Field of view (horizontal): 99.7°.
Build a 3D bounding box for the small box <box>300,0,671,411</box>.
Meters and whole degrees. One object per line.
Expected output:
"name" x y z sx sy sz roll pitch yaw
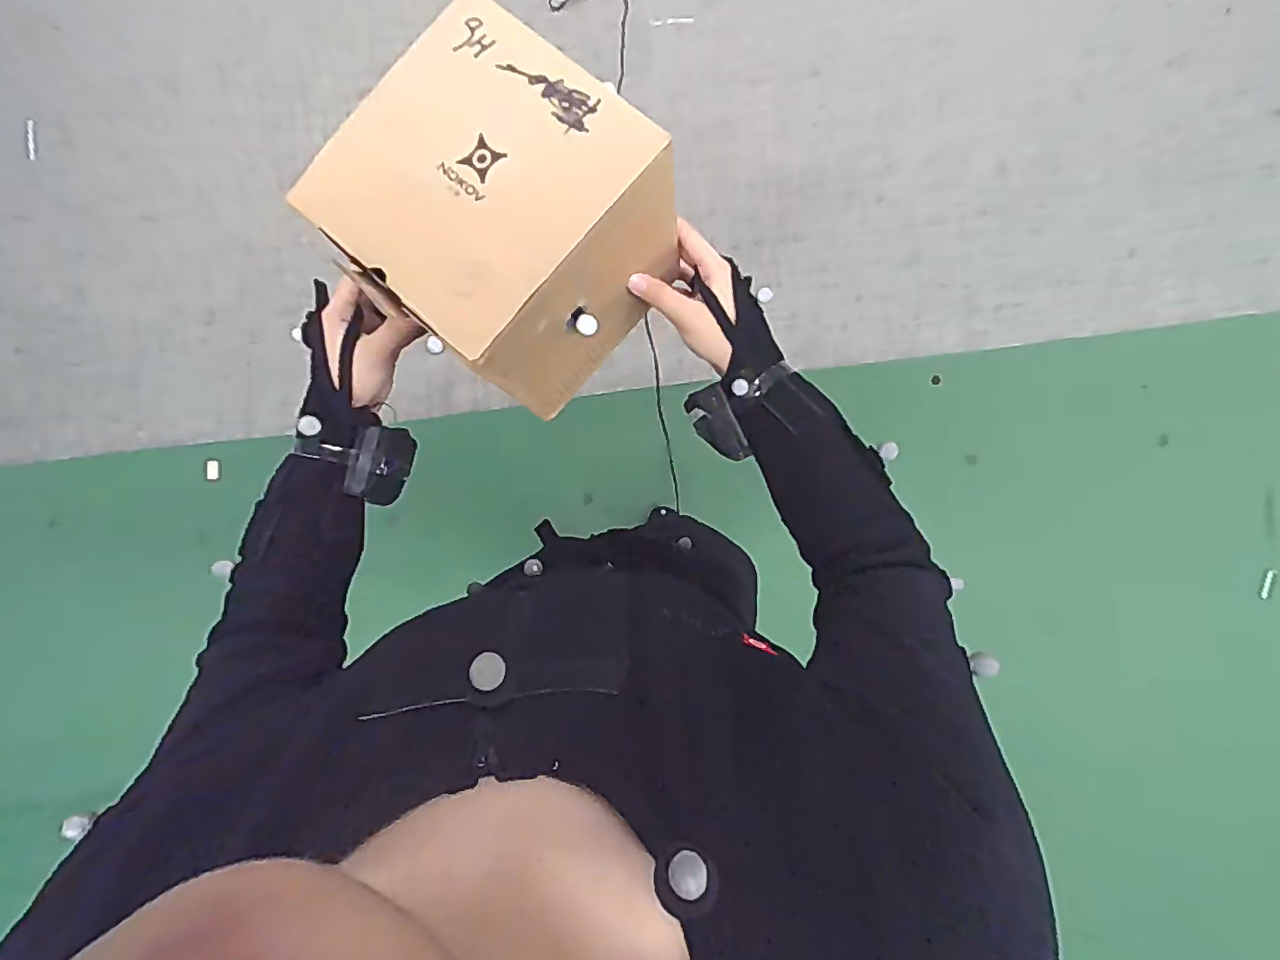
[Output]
"small box" -0.089 -0.174 0.404 0.168 0.176 0.179 41 91 7
